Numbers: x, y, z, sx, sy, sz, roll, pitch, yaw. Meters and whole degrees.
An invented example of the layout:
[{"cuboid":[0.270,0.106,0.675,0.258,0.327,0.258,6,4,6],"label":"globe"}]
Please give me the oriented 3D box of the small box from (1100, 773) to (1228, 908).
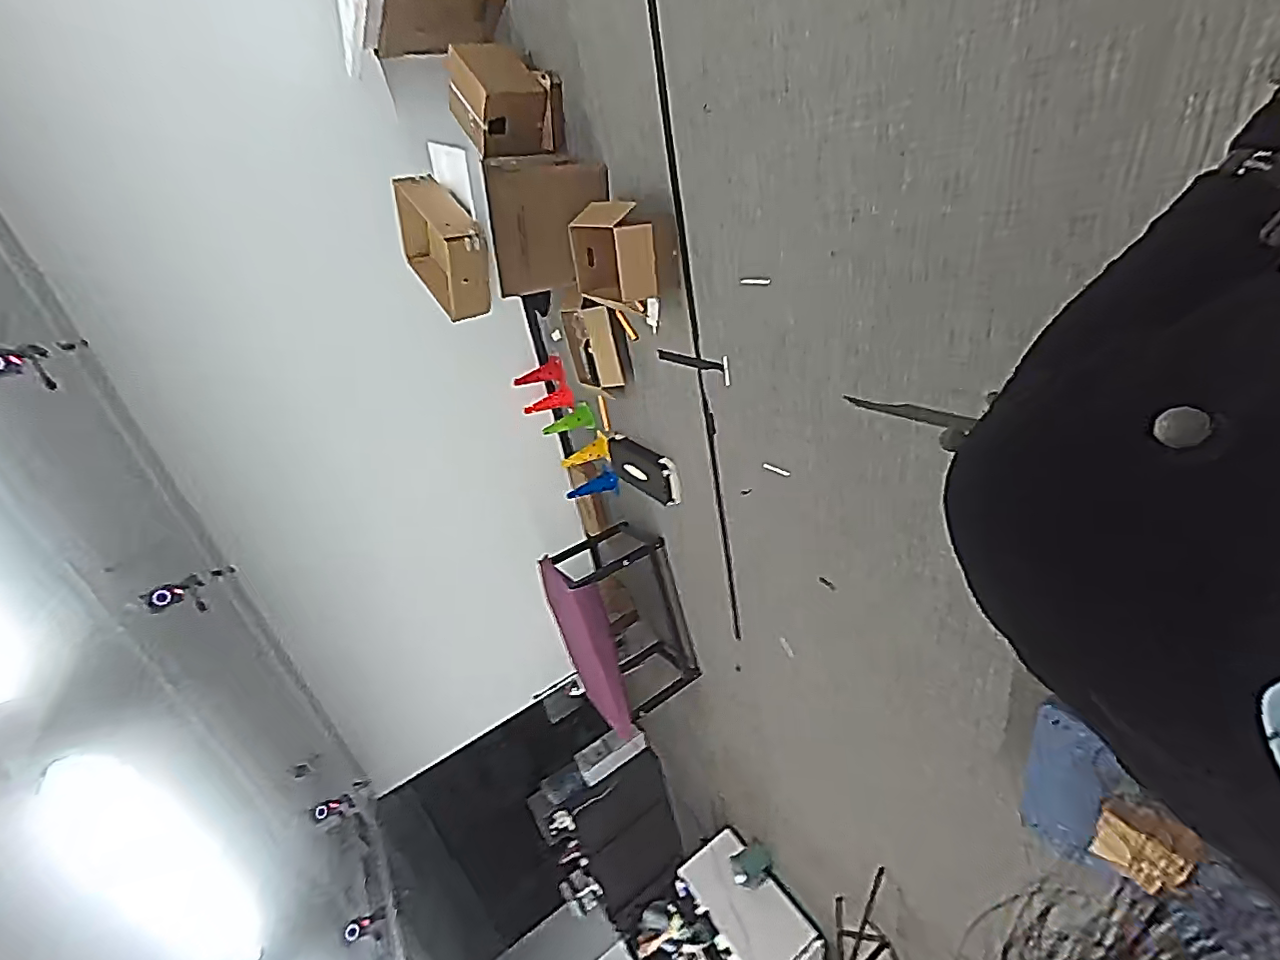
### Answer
[{"cuboid":[1.262,0.861,1.305,0.168,0.176,0.179,27,136,53],"label":"small box"}]
